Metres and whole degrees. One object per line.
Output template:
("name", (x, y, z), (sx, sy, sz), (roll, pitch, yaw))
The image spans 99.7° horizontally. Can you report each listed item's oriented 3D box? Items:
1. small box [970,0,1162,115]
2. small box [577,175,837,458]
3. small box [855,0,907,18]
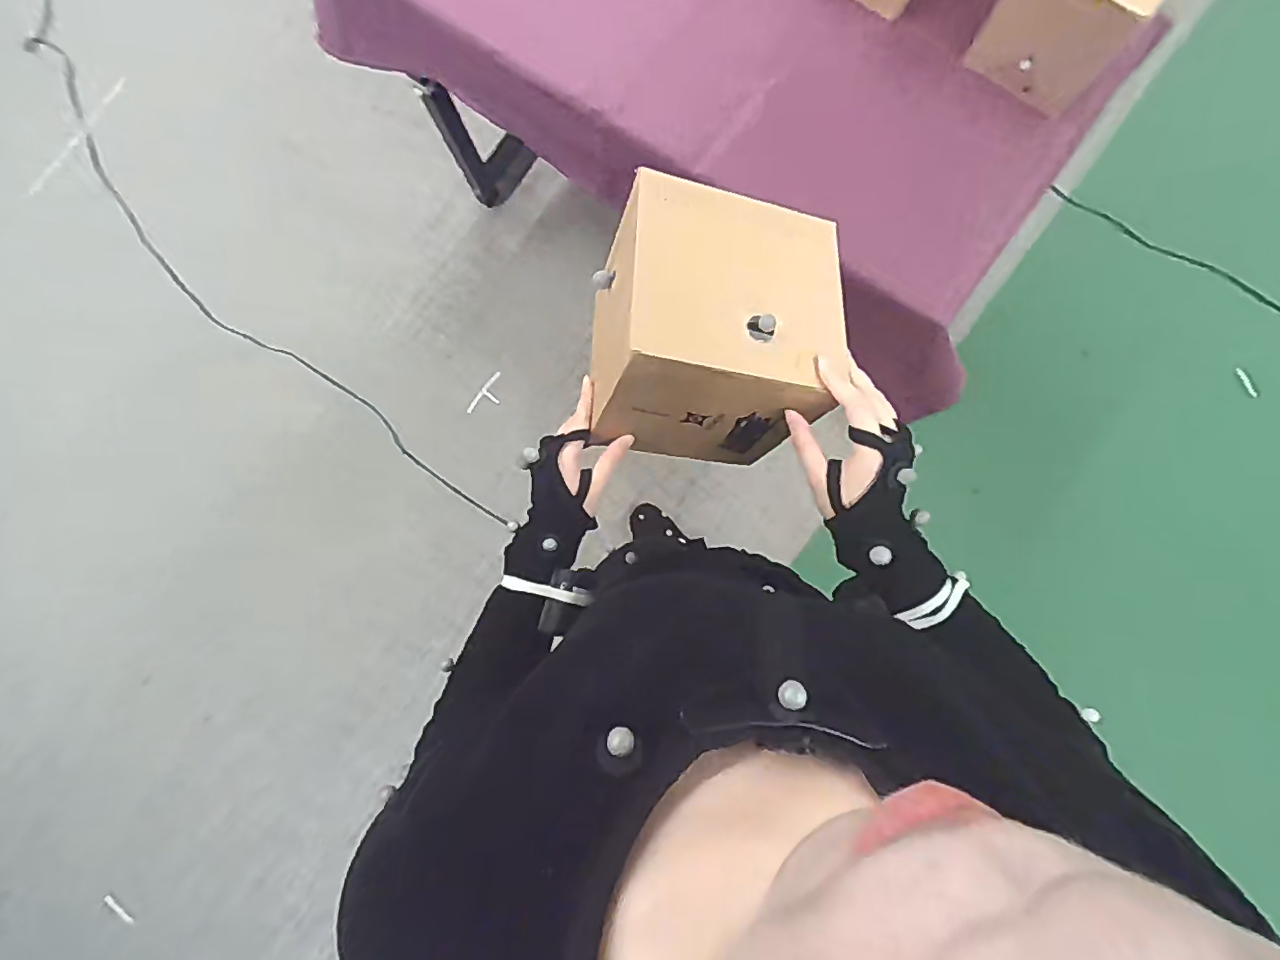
("small box", (0.603, -0.665, 0.742), (0.168, 0.176, 0.179), (37, 91, 6))
("small box", (0.049, -0.134, 0.484), (0.179, 0.168, 0.176), (8, 70, -14))
("small box", (0.374, -0.837, 0.773), (0.168, 0.176, 0.179), (35, 89, 5))
